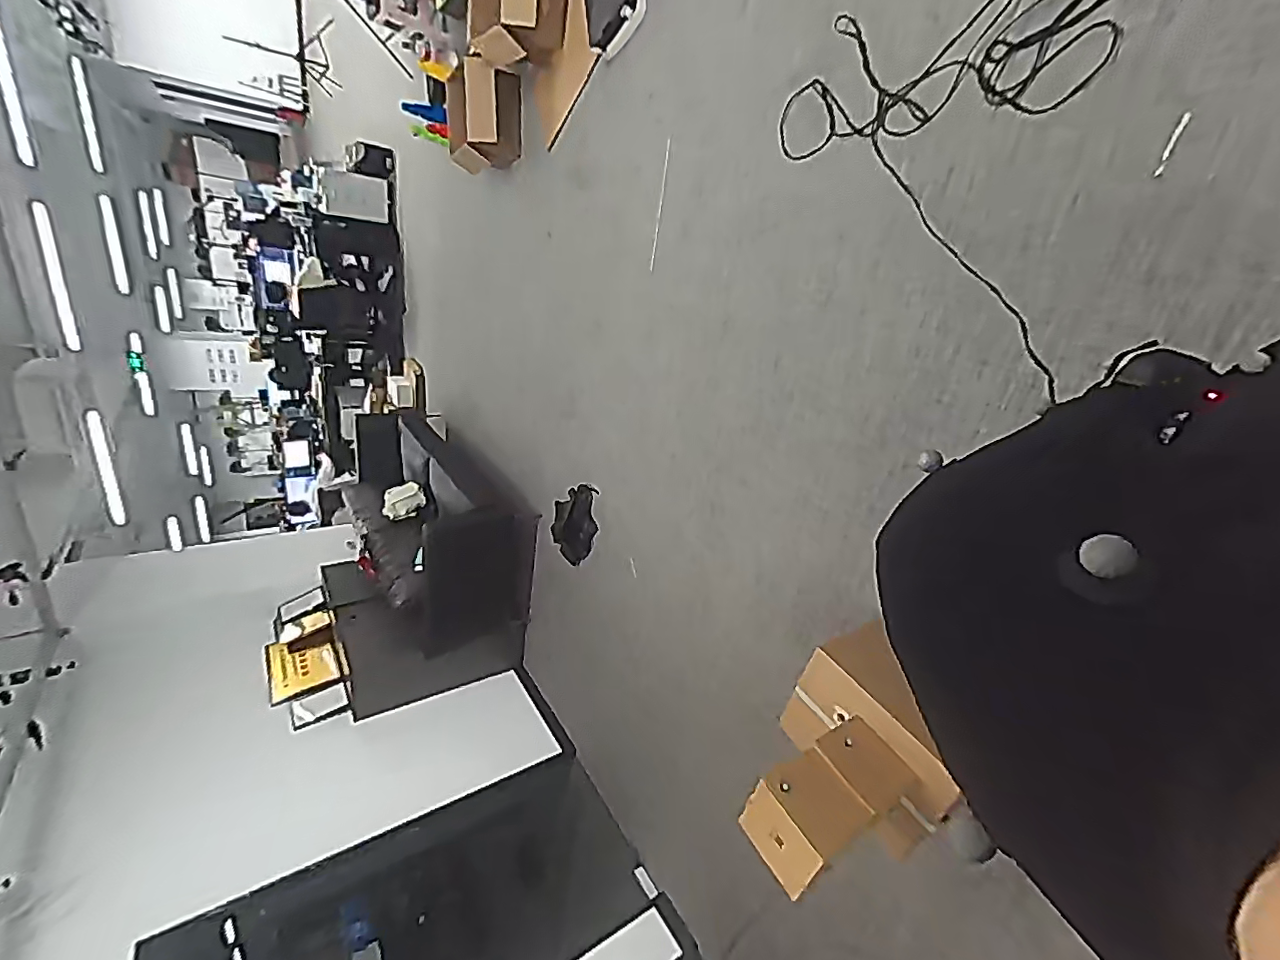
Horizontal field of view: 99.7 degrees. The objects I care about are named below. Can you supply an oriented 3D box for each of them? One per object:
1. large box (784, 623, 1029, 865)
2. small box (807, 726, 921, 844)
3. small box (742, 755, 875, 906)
[{"bbox_3d":[0.658,0.641,1.381,0.408,0.320,0.320,44,129,44],"label":"large box"},{"bbox_3d":[0.482,0.683,1.213,0.179,0.176,0.168,43,131,41],"label":"small box"},{"bbox_3d":[0.350,0.717,1.124,0.179,0.176,0.168,44,131,43],"label":"small box"}]
